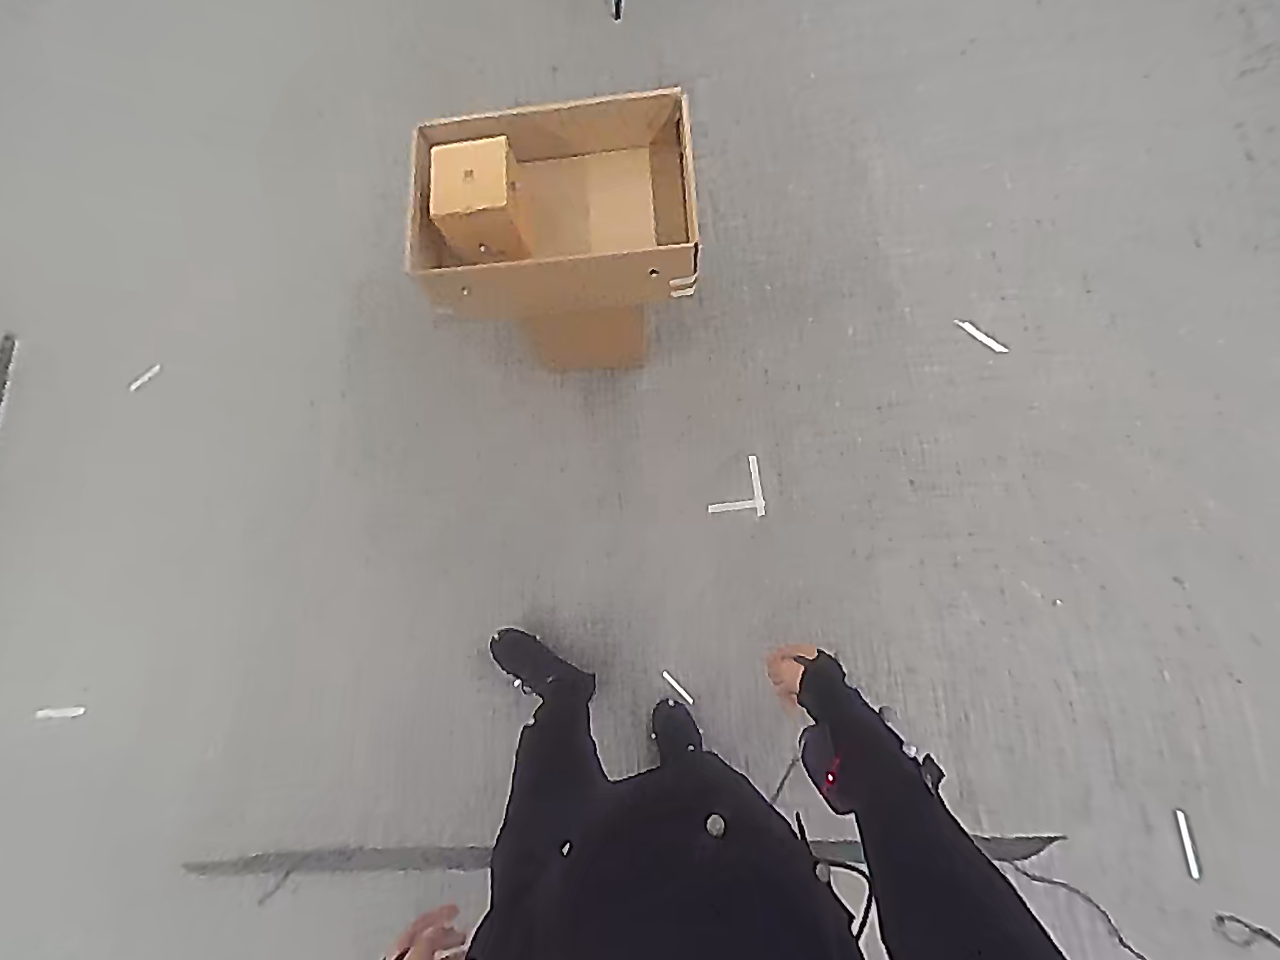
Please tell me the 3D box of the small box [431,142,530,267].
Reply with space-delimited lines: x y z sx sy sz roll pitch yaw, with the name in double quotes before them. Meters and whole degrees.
"small box" -0.350 -0.610 1.211 0.168 0.176 0.179 -6 77 5
